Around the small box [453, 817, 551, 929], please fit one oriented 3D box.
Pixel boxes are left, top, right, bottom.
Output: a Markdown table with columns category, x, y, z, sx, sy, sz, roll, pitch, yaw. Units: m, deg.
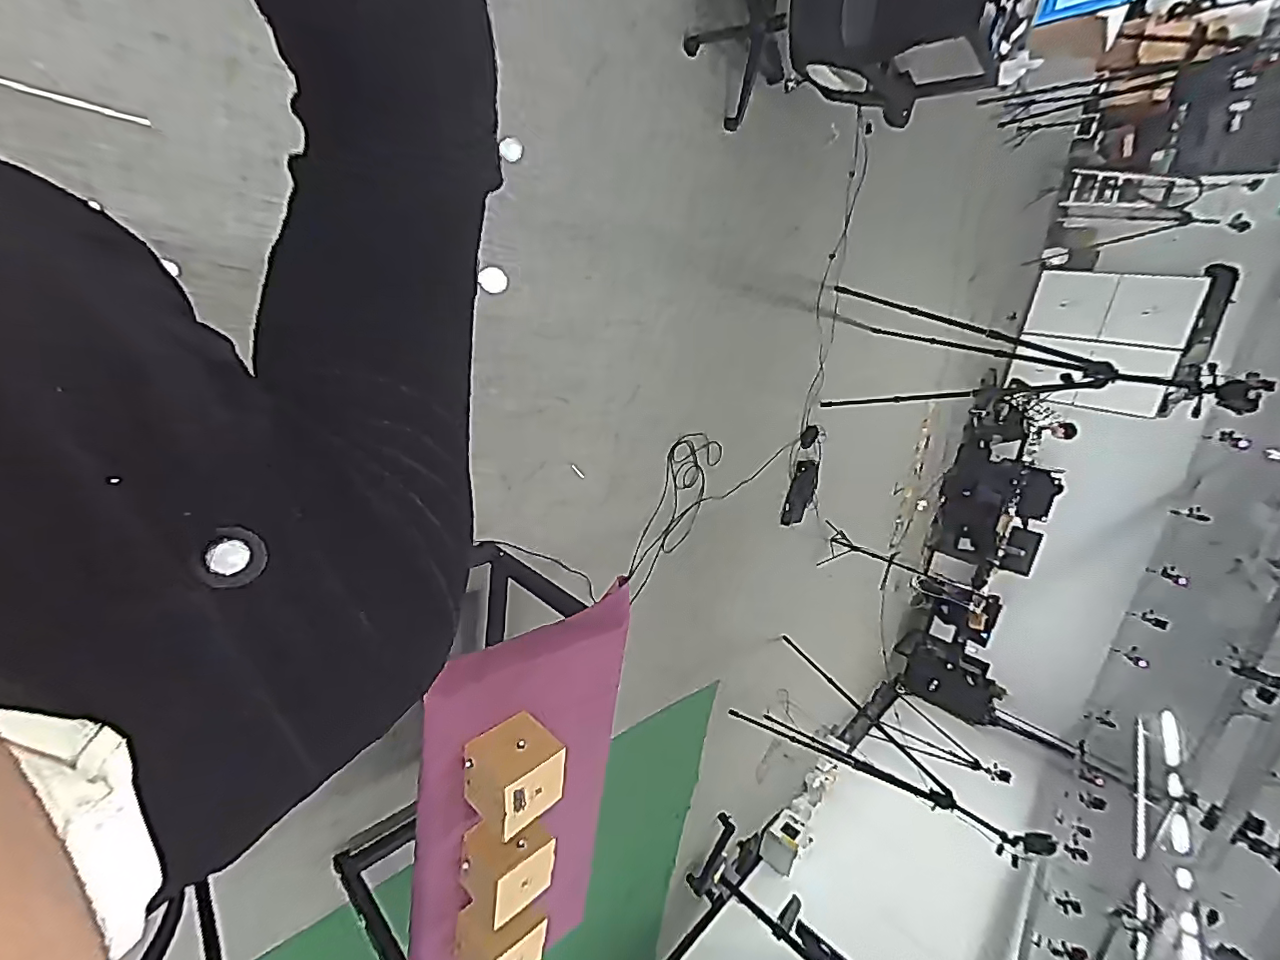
| category | x | y | z | sx | sy | sz | roll | pitch | yaw |
| --- | --- | --- | --- | --- | --- | --- | --- | --- | --- |
| small box | -0.356 | 0.975 | 1.393 | 0.179 | 0.176 | 0.168 | -8 | 112 | -46 |

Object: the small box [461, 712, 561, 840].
| category | x | y | z | sx | sy | sz | roll | pitch | yaw |
| --- | --- | --- | --- | --- | --- | --- | --- | --- | --- |
| small box | -0.316 | 0.704 | 1.307 | 0.179 | 0.176 | 0.168 | -14 | 118 | -47 |

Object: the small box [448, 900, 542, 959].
| category | x | y | z | sx | sy | sz | roll | pitch | yaw |
| --- | --- | --- | --- | --- | --- | --- | --- | --- | --- |
| small box | -0.395 | 1.238 | 1.468 | 0.179 | 0.176 | 0.168 | -6 | 111 | -48 |
